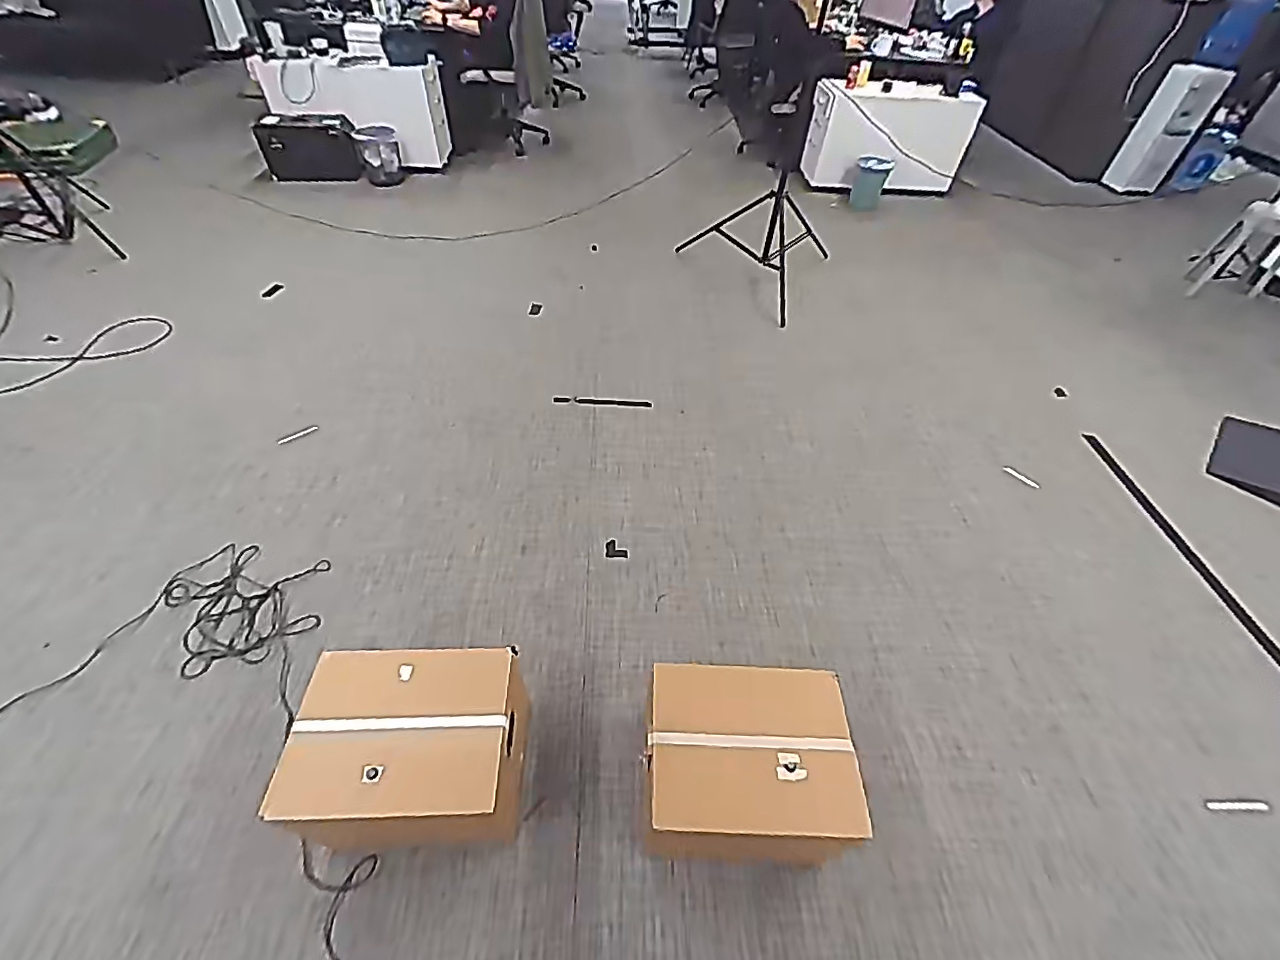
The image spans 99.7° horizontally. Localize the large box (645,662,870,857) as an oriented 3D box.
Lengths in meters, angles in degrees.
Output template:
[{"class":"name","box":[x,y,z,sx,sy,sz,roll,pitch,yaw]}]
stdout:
[{"class":"large box","box":[0.219,0.622,1.194,0.408,0.320,0.320,4,48,-2]}]
